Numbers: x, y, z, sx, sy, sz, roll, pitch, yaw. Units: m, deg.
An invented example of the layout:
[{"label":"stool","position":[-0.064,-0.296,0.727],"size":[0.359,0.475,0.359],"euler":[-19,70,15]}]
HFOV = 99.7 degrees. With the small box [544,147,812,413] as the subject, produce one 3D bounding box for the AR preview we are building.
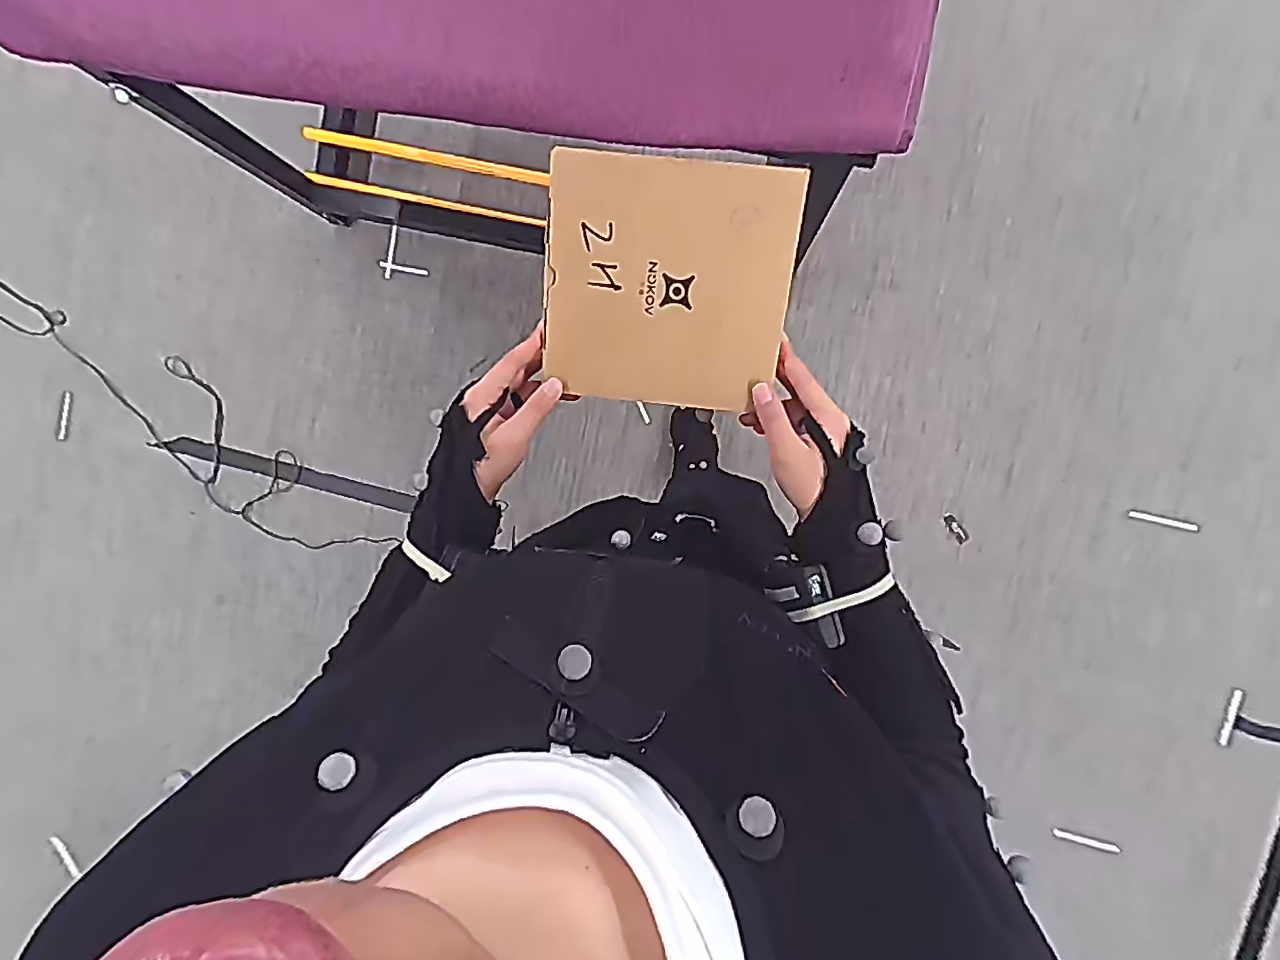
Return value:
[{"label":"small box","position":[0.026,-0.163,0.463],"size":[0.179,0.176,0.168],"euler":[7,108,2]}]
